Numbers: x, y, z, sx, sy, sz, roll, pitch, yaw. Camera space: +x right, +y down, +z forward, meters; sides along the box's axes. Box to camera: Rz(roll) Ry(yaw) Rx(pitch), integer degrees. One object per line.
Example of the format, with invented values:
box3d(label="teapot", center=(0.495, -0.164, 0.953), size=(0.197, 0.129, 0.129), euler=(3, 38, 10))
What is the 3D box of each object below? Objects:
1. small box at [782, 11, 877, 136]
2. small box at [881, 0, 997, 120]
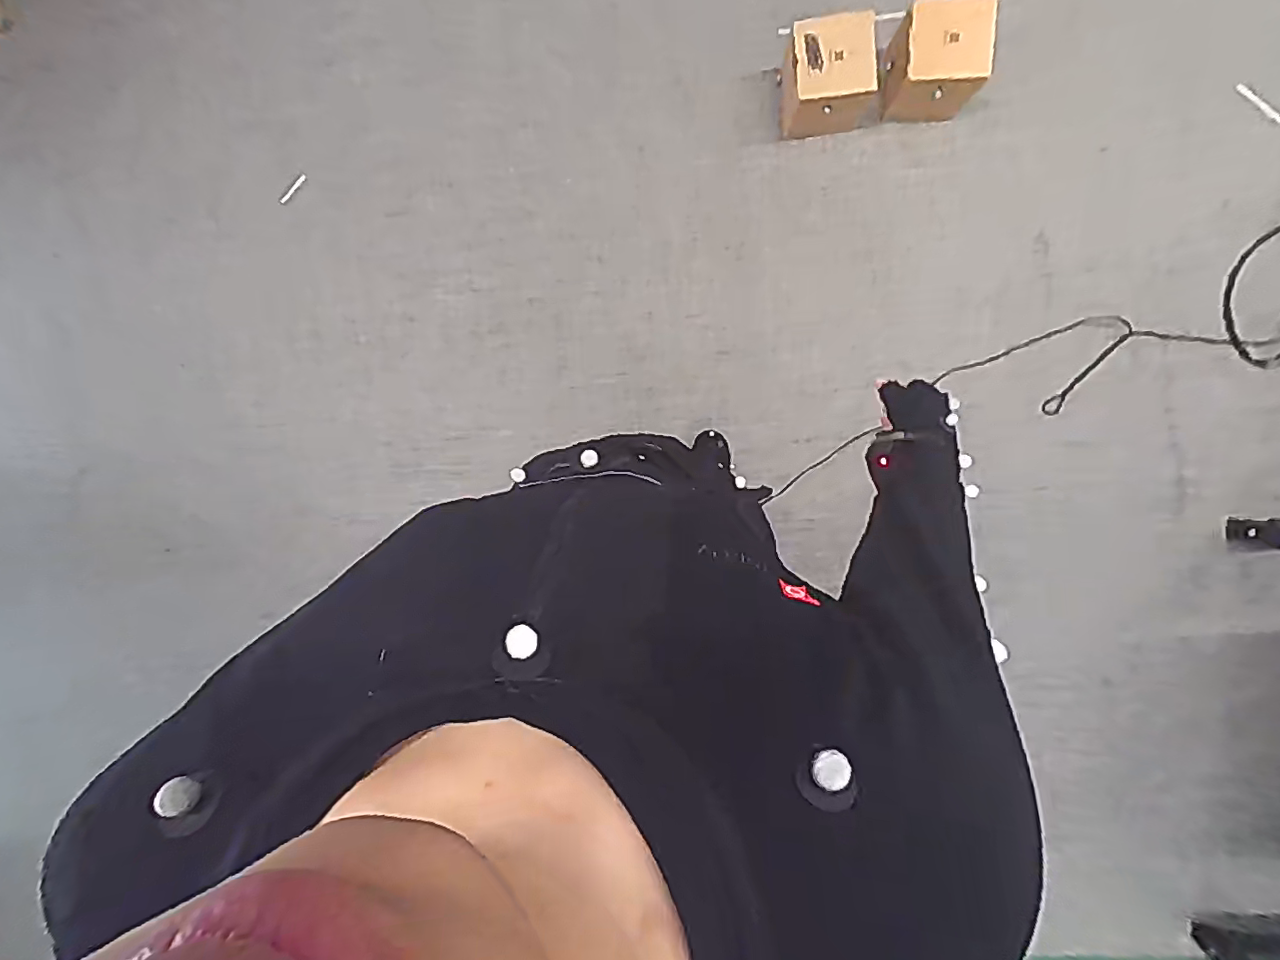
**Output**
box3d(label="small box", center=(0.431, -0.933, 1.259), size=(0.179, 0.176, 0.168), euler=(-5, 96, 5))
box3d(label="small box", center=(0.675, -0.956, 1.237), size=(0.179, 0.176, 0.168), euler=(1, 96, 6))
